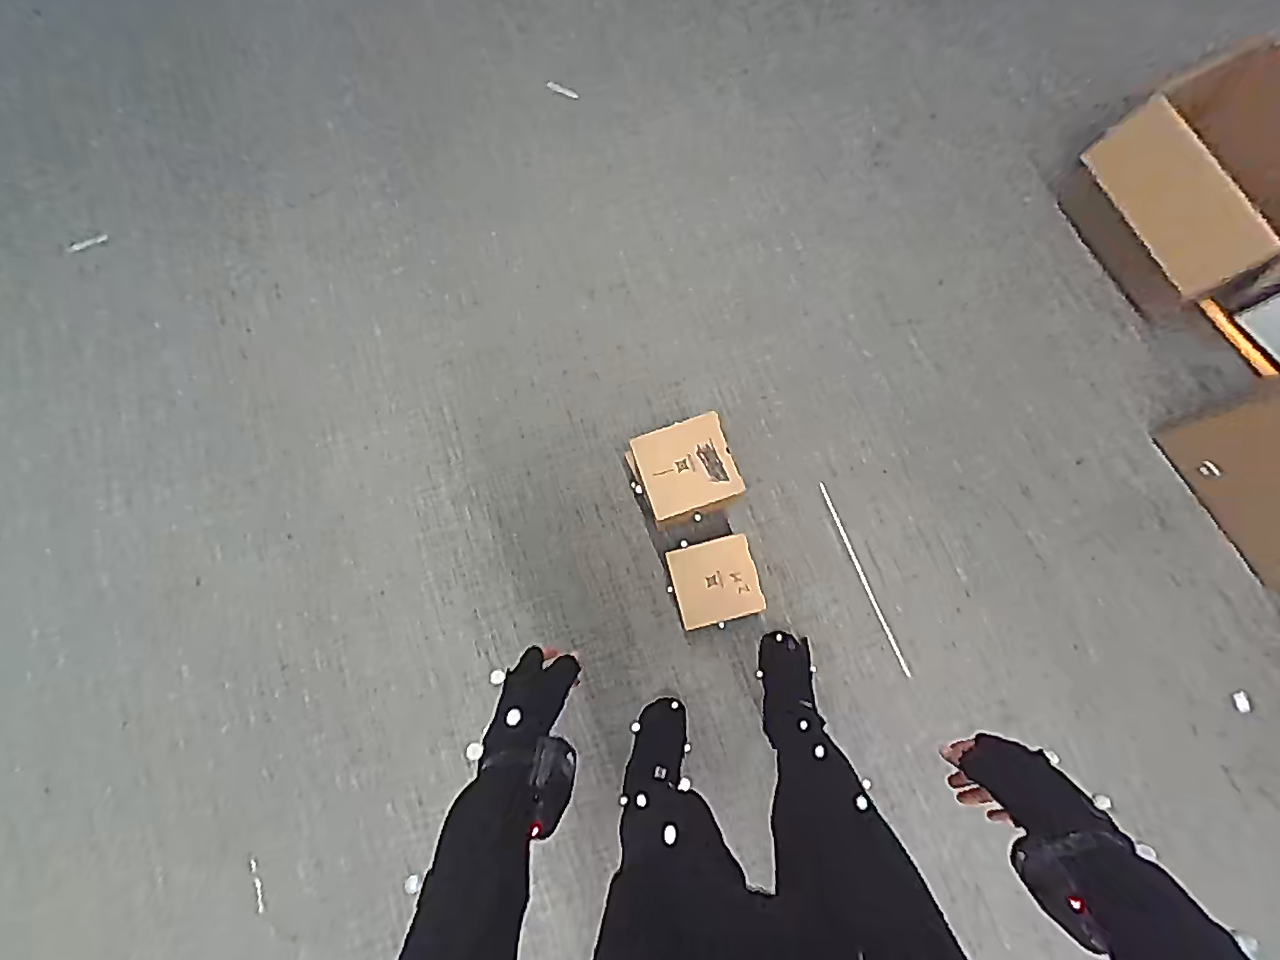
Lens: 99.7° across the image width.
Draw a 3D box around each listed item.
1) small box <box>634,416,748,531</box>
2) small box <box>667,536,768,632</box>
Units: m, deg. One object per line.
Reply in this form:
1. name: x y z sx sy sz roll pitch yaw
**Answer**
1. small box: 0.096 -0.005 1.076 0.179 0.176 0.168 -19 78 0
2. small box: 0.164 0.230 1.190 0.179 0.176 0.168 -15 78 1
